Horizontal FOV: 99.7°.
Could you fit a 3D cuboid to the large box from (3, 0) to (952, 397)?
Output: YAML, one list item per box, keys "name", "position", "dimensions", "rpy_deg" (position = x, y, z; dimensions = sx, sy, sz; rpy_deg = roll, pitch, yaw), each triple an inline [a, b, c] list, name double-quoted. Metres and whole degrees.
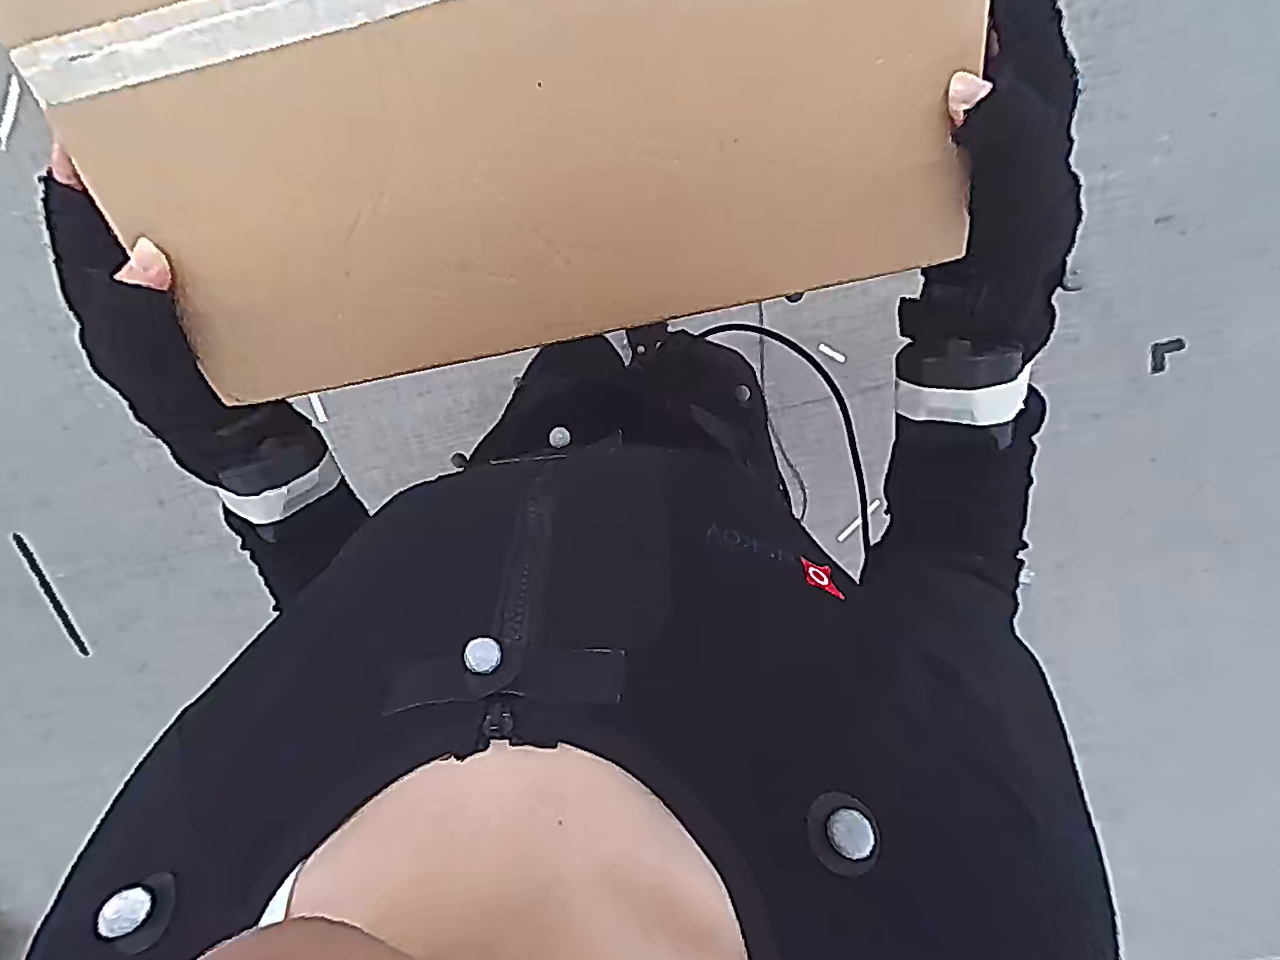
- name: "large box"
  position: [-0.069, -0.288, 0.355]
  dimensions: [0.408, 0.320, 0.320]
  rpy_deg: [-10, 117, 6]
